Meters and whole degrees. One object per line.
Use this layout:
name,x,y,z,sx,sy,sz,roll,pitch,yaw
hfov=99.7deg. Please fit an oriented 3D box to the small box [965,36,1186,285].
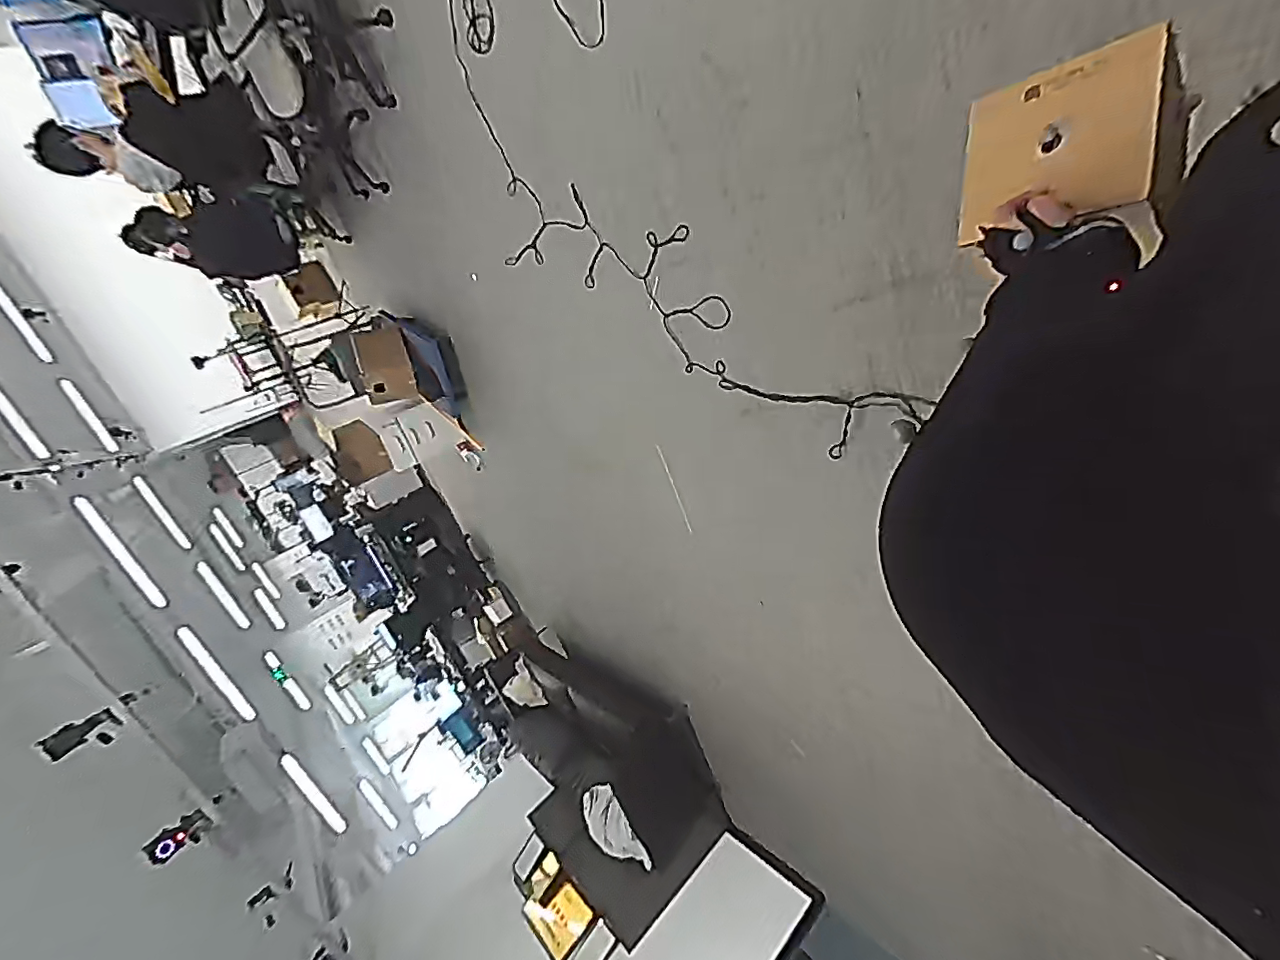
small box,0.492,-0.346,0.614,0.168,0.179,0.176,5,91,50
